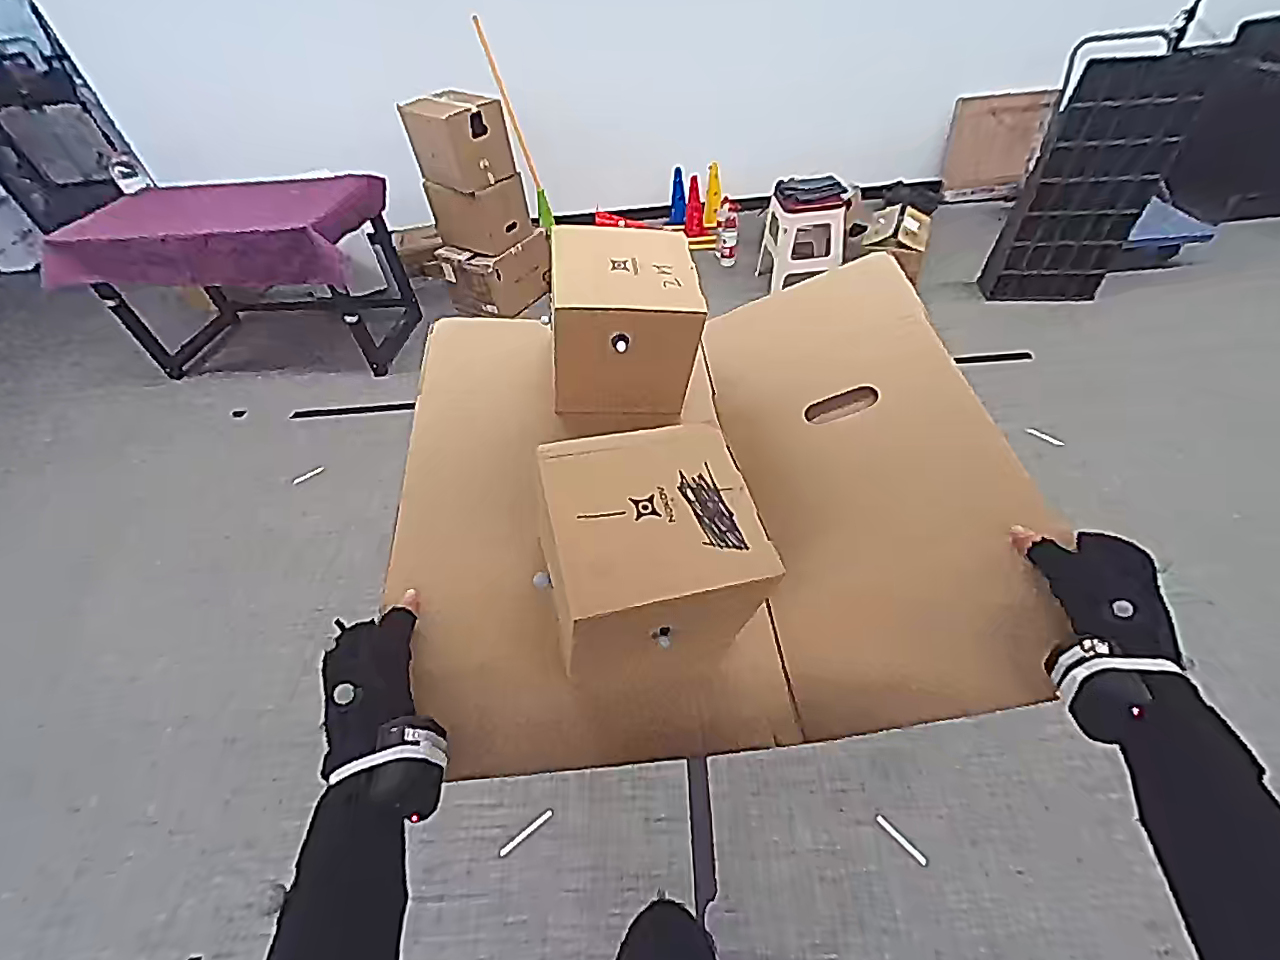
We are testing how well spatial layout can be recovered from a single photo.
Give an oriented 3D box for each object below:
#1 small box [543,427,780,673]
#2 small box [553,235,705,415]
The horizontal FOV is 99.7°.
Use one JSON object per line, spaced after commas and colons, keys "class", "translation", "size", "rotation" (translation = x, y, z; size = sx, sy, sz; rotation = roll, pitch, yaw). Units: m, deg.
{"class": "small box", "translation": [0.004, 0.071, 0.530], "size": [0.179, 0.176, 0.168], "rotation": [-9, 57, -14]}
{"class": "small box", "translation": [-0.025, -0.200, 0.720], "size": [0.179, 0.176, 0.168], "rotation": [0, 55, -9]}
